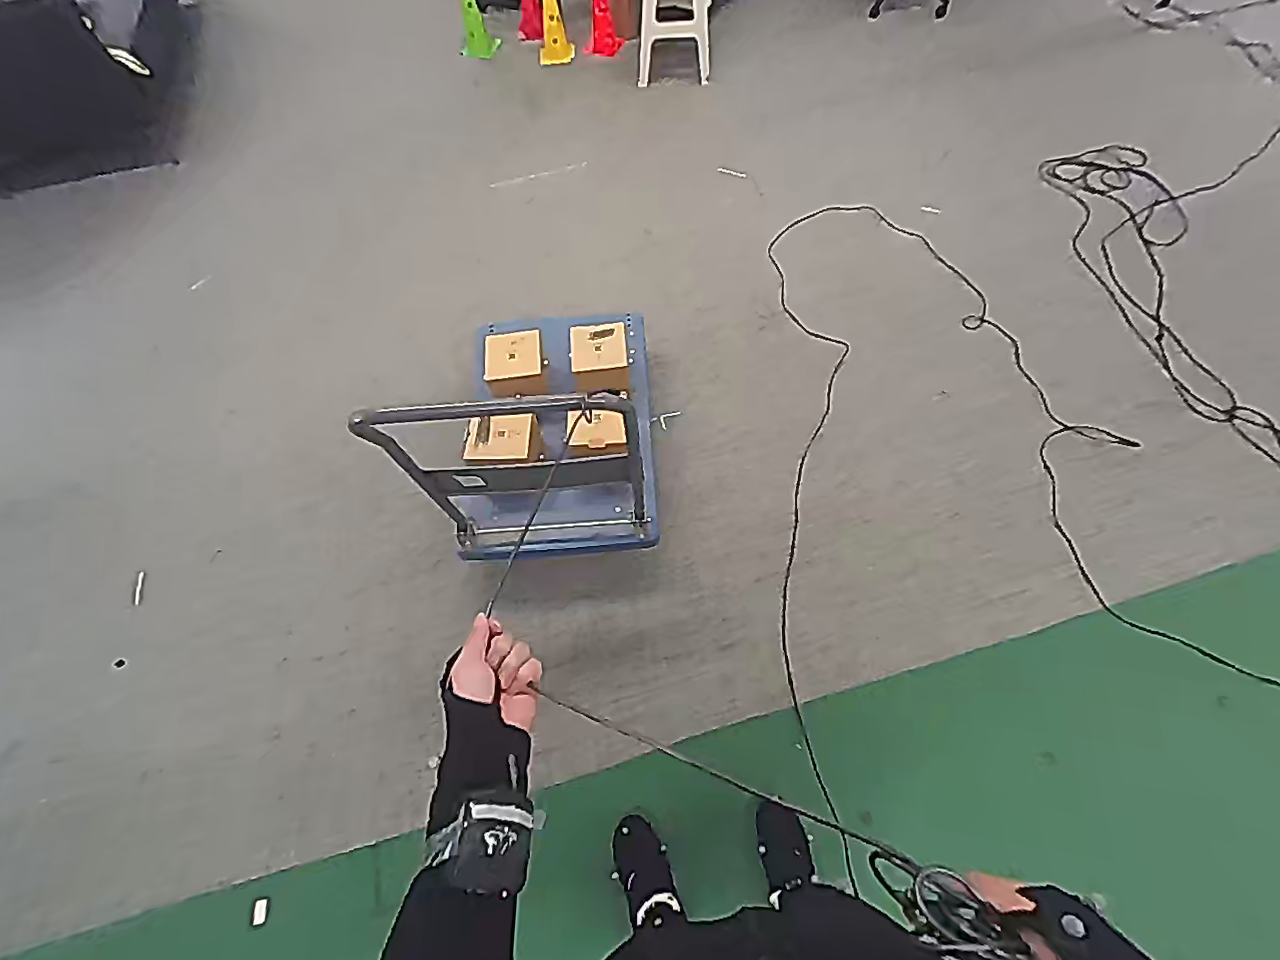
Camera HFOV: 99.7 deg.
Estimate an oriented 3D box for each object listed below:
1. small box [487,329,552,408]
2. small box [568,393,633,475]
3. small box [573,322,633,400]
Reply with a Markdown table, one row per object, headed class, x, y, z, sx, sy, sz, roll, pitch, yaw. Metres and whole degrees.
| class | x | y | z | sx | sy | sz | roll | pitch | yaw |
| --- | --- | --- | --- | --- | --- | --- | --- | --- | --- |
| small box | -0.368 | -0.336 | 1.673 | 0.168 | 0.176 | 0.179 | -6 | 62 | -1 |
| small box | -0.109 | -0.130 | 1.551 | 0.168 | 0.176 | 0.179 | -3 | 62 | 2 |
| small box | -0.113 | -0.358 | 1.669 | 0.168 | 0.176 | 0.179 | -5 | 63 | 1 |
